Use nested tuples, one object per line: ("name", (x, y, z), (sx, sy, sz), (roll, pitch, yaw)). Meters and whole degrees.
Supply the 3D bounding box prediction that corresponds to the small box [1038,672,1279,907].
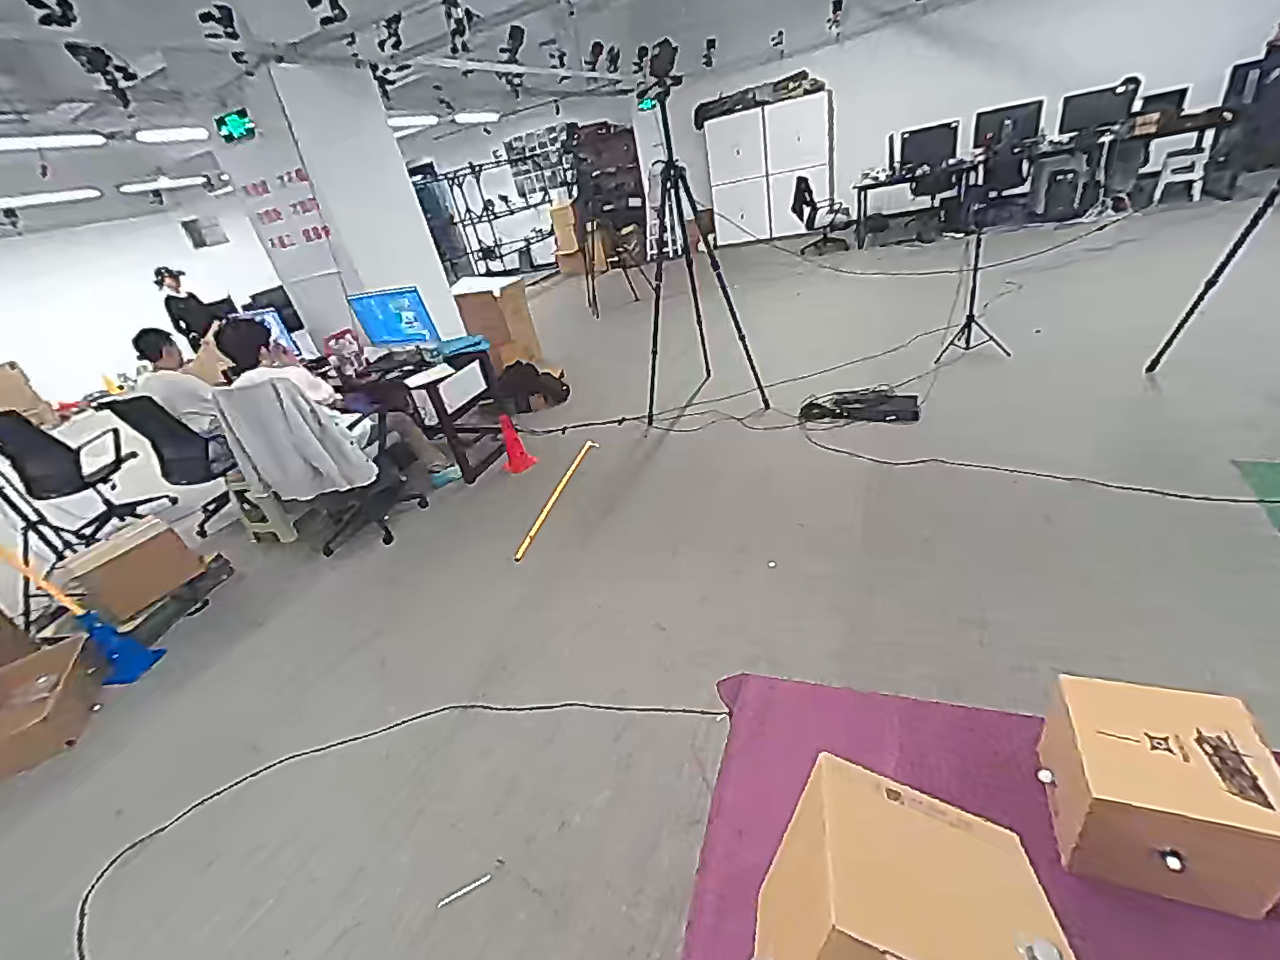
("small box", (0.603, 0.362, 0.642), (0.179, 0.176, 0.168), (1, 33, 26))
